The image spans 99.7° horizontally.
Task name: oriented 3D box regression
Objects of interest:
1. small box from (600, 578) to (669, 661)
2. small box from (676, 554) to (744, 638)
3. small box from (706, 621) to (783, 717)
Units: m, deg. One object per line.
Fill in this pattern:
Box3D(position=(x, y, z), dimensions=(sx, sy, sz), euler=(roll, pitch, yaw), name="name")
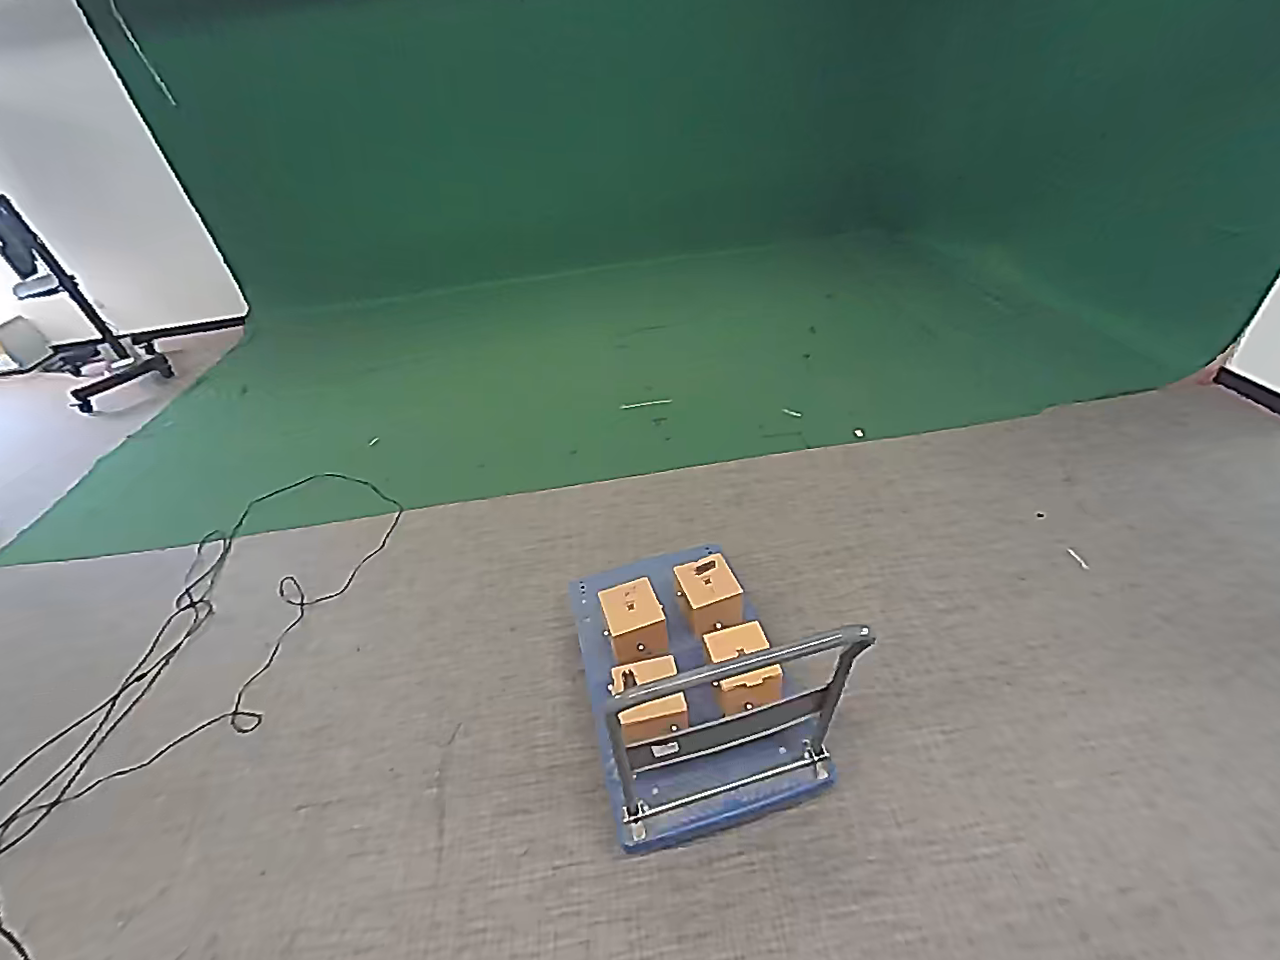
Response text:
Box3D(position=(-0.015, 0.445, 1.700), dimensions=(0.168, 0.176, 0.179), euler=(-16, 40, -11), name="small box")
Box3D(position=(0.223, 0.374, 1.745), dimensions=(0.168, 0.176, 0.179), euler=(-17, 41, -9), name="small box")
Box3D(position=(0.290, 0.537, 1.540), dimensions=(0.168, 0.176, 0.179), euler=(-13, 40, -7), name="small box")
